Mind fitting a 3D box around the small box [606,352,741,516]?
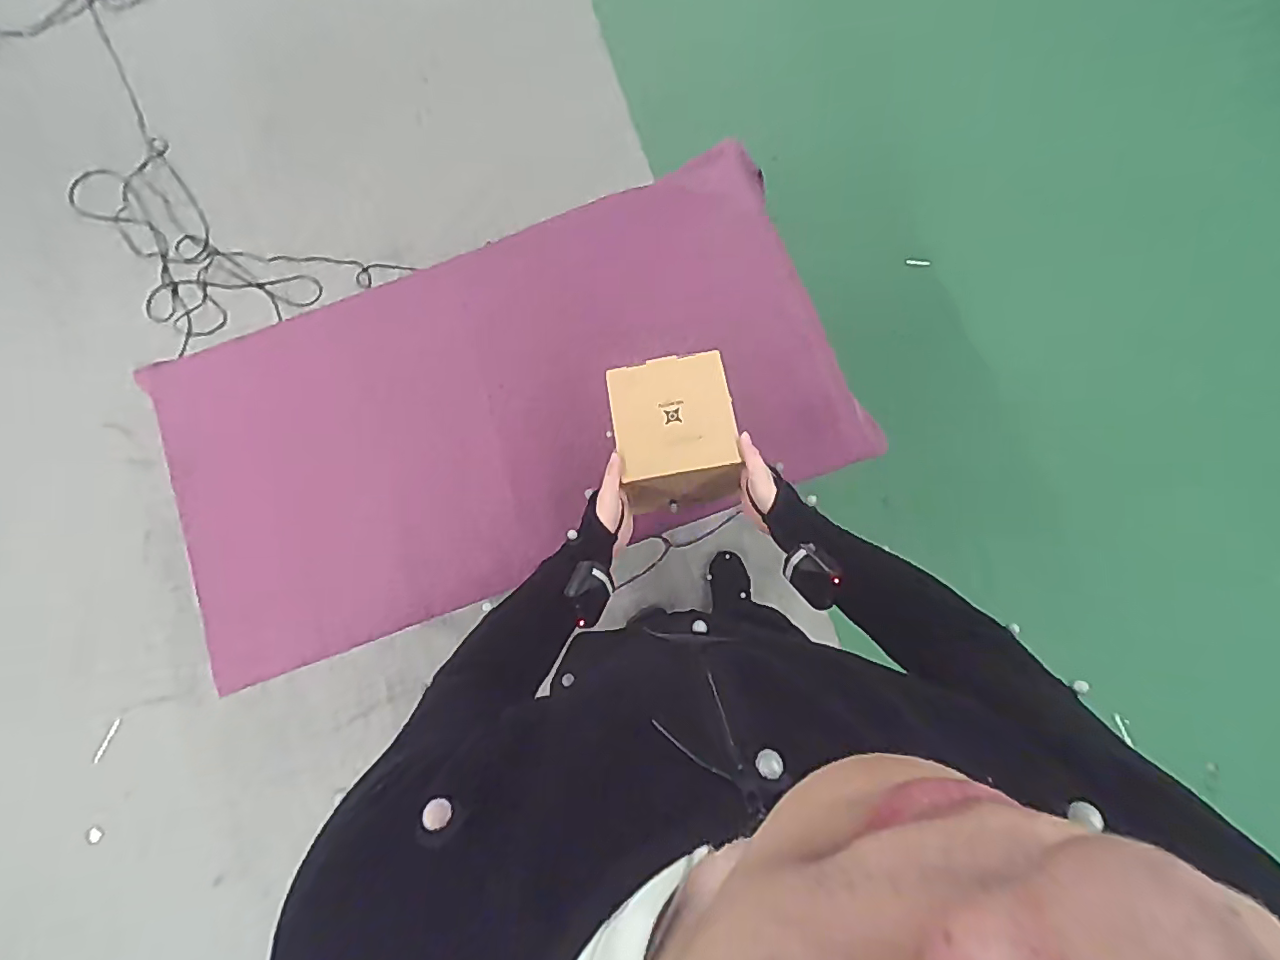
[{"bbox_3d":[0.047,-0.061,0.800,0.168,0.176,0.179,-9,70,3],"label":"small box"}]
